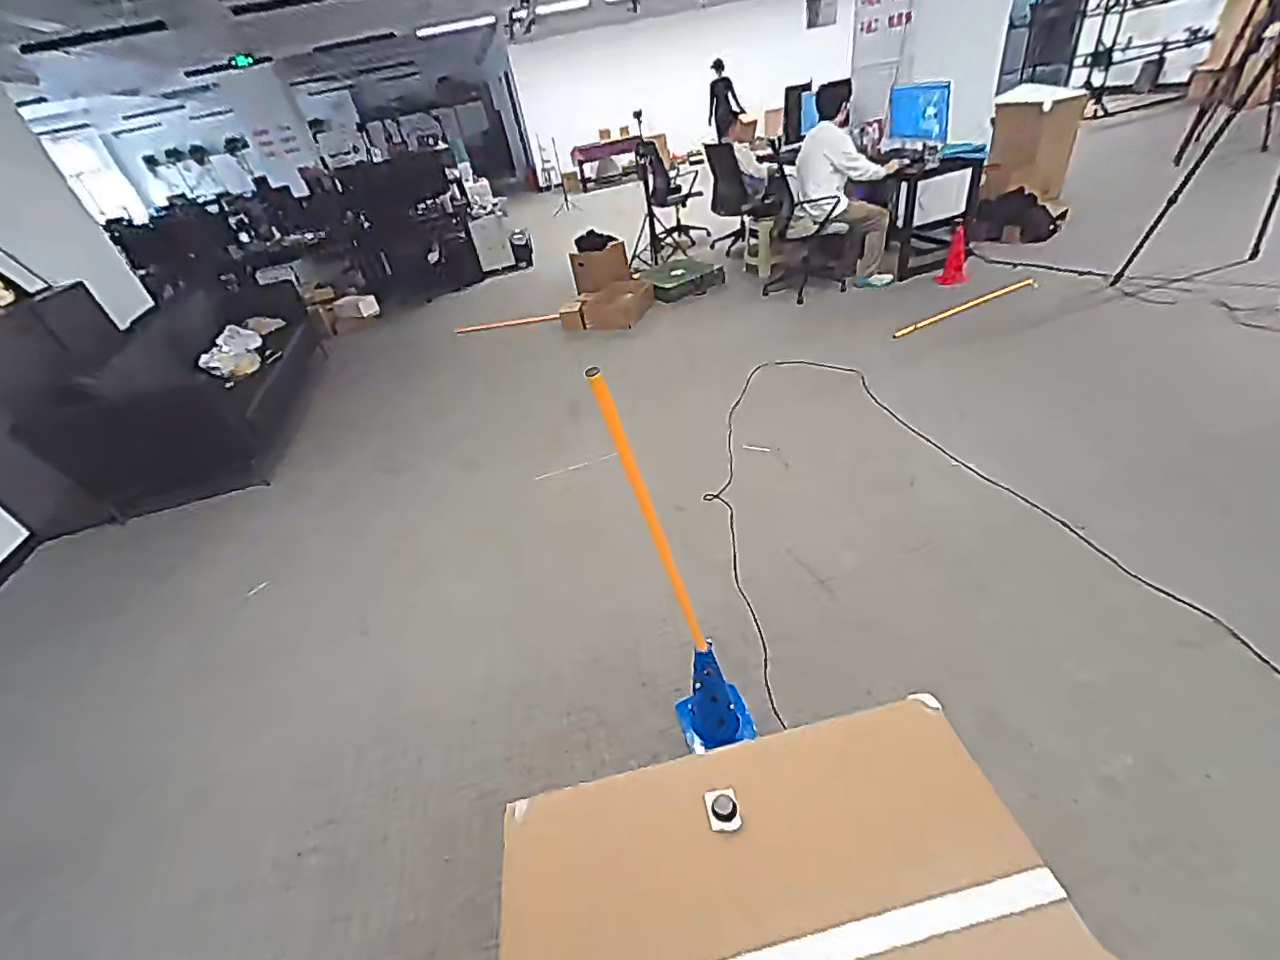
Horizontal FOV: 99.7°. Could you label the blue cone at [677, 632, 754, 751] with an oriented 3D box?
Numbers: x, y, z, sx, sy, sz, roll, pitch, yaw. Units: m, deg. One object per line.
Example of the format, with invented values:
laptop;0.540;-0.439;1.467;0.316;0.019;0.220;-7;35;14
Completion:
blue cone;0.189;0.555;1.483;0.193;0.380;0.192;-20;37;-8
